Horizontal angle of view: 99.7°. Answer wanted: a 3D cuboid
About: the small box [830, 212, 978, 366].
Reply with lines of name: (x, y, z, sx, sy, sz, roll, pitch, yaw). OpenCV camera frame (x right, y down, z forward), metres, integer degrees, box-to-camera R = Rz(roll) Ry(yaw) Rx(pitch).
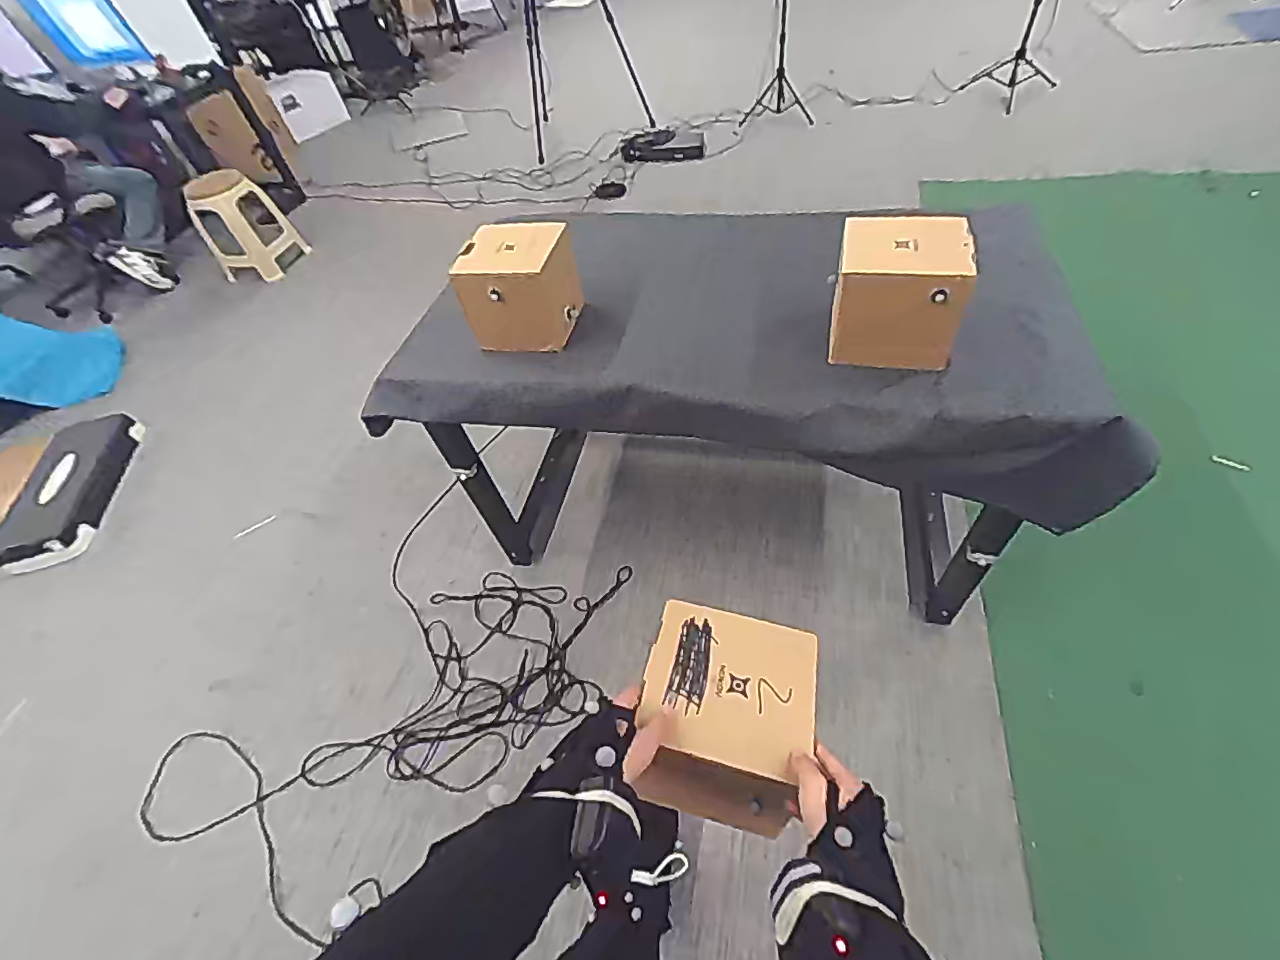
small box: (0.400, -0.297, 0.849, 0.179, 0.176, 0.168, 7, 53, 15)

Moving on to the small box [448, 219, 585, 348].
small box: (-0.219, -0.363, 1.008, 0.179, 0.176, 0.168, 5, 54, 12)
